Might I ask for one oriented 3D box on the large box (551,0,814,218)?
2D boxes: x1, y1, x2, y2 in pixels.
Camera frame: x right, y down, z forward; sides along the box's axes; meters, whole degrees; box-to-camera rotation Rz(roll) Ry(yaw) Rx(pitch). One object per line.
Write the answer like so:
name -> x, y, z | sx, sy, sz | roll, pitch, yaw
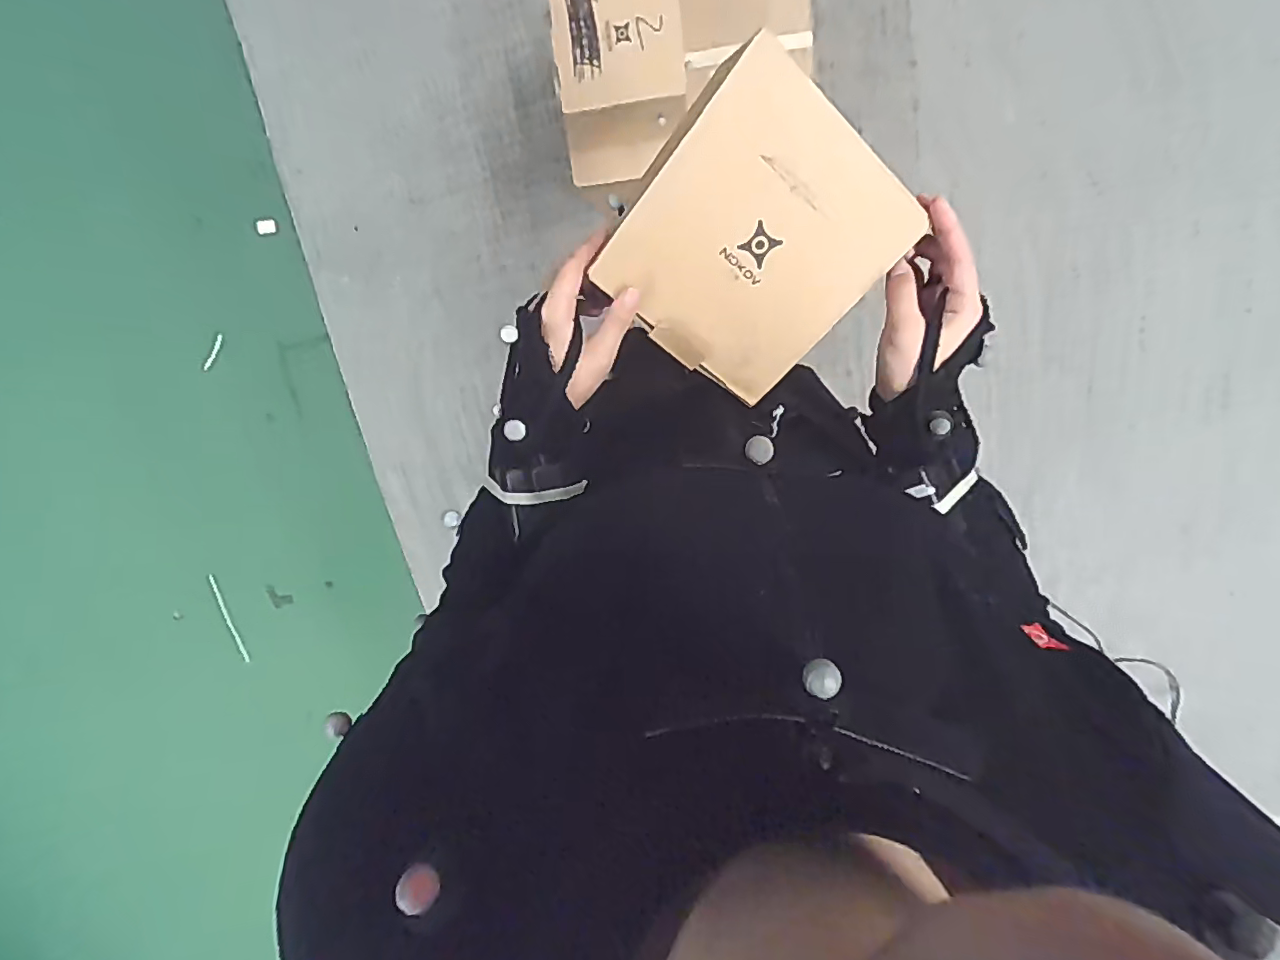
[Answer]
large box -> 0.082, -0.708, 1.006 | 0.408, 0.320, 0.320 | -5, 107, 7
